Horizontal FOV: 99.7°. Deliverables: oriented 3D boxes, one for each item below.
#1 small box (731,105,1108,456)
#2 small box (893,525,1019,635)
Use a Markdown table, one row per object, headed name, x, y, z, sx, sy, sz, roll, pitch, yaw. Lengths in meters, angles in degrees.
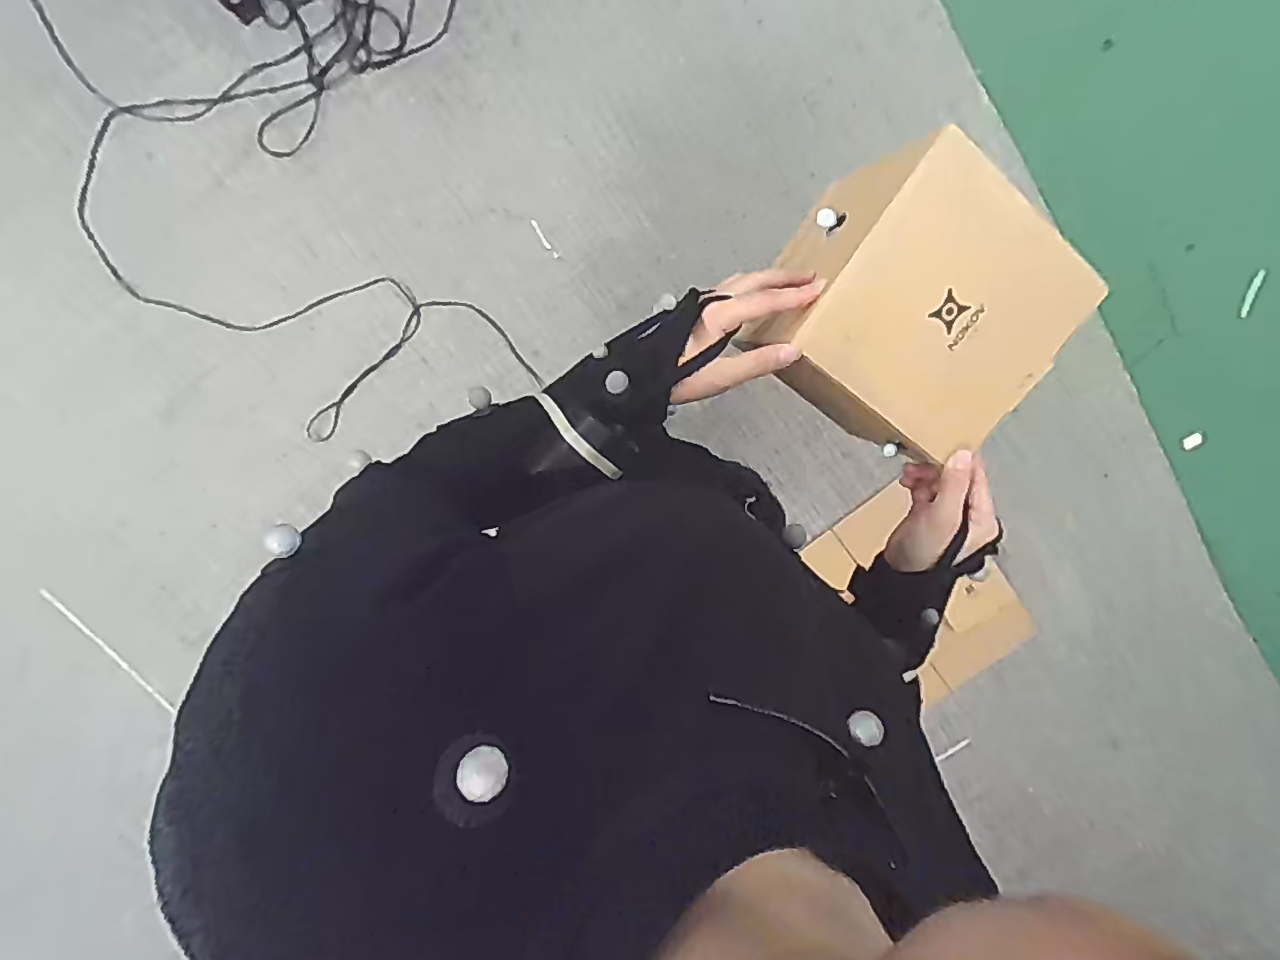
| name | x | y | z | sx | sy | sz | roll | pitch | yaw |
| --- | --- | --- | --- | --- | --- | --- | --- | --- | --- |
| small box | 0.201 | -0.146 | 0.443 | 0.179 | 0.176 | 0.168 | 31 | 101 | -16 |
| small box | 0.770 | 0.238 | 1.334 | 0.168 | 0.176 | 0.179 | -37 | 99 | 4 |
